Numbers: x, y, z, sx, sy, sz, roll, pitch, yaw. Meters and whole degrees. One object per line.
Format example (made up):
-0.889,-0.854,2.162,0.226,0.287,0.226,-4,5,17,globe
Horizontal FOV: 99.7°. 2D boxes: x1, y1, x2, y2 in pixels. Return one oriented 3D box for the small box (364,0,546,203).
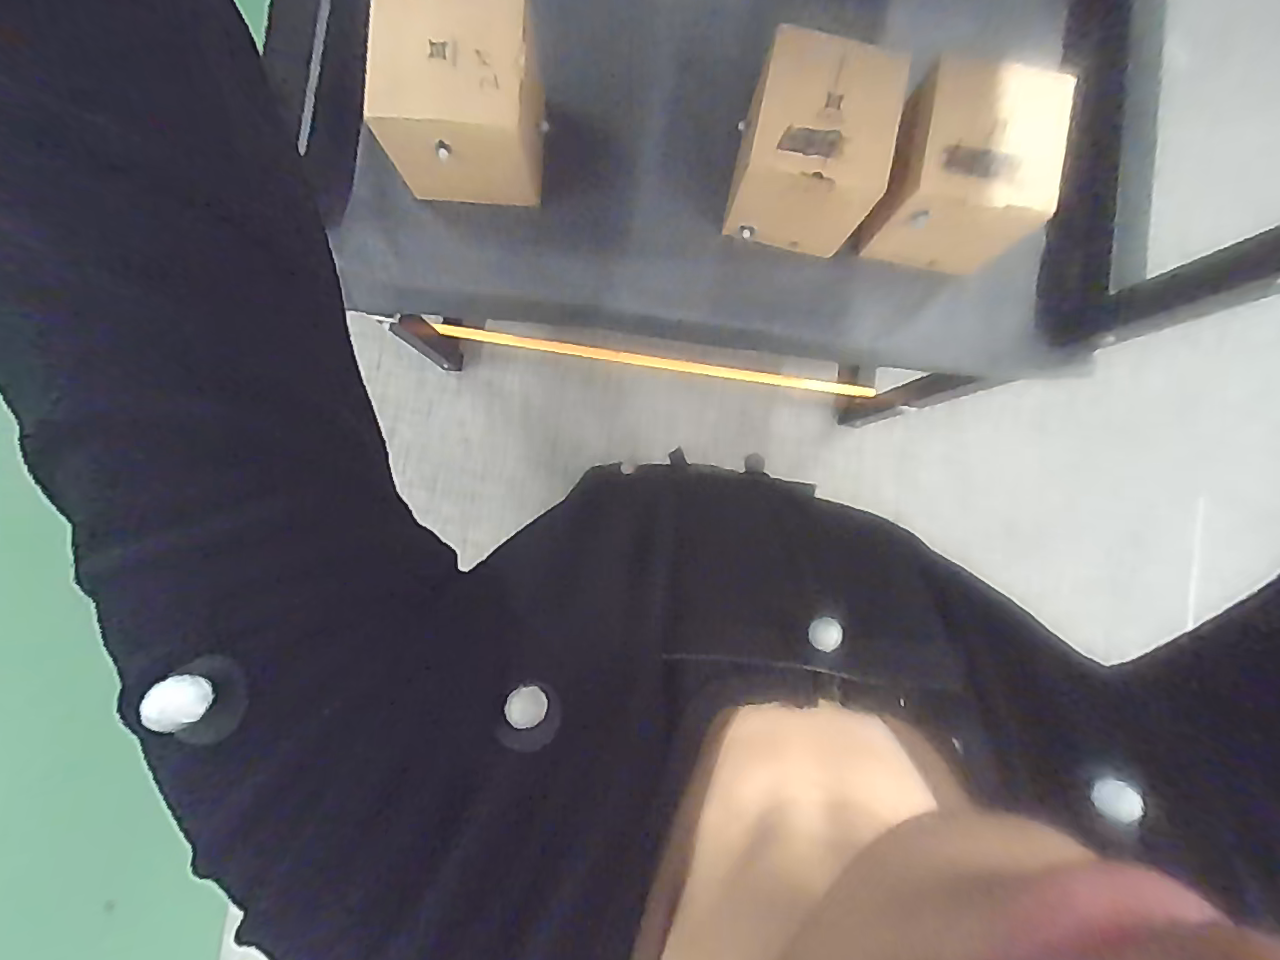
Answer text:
-0.224,-0.482,0.695,0.179,0.176,0.168,3,88,-3,small box
